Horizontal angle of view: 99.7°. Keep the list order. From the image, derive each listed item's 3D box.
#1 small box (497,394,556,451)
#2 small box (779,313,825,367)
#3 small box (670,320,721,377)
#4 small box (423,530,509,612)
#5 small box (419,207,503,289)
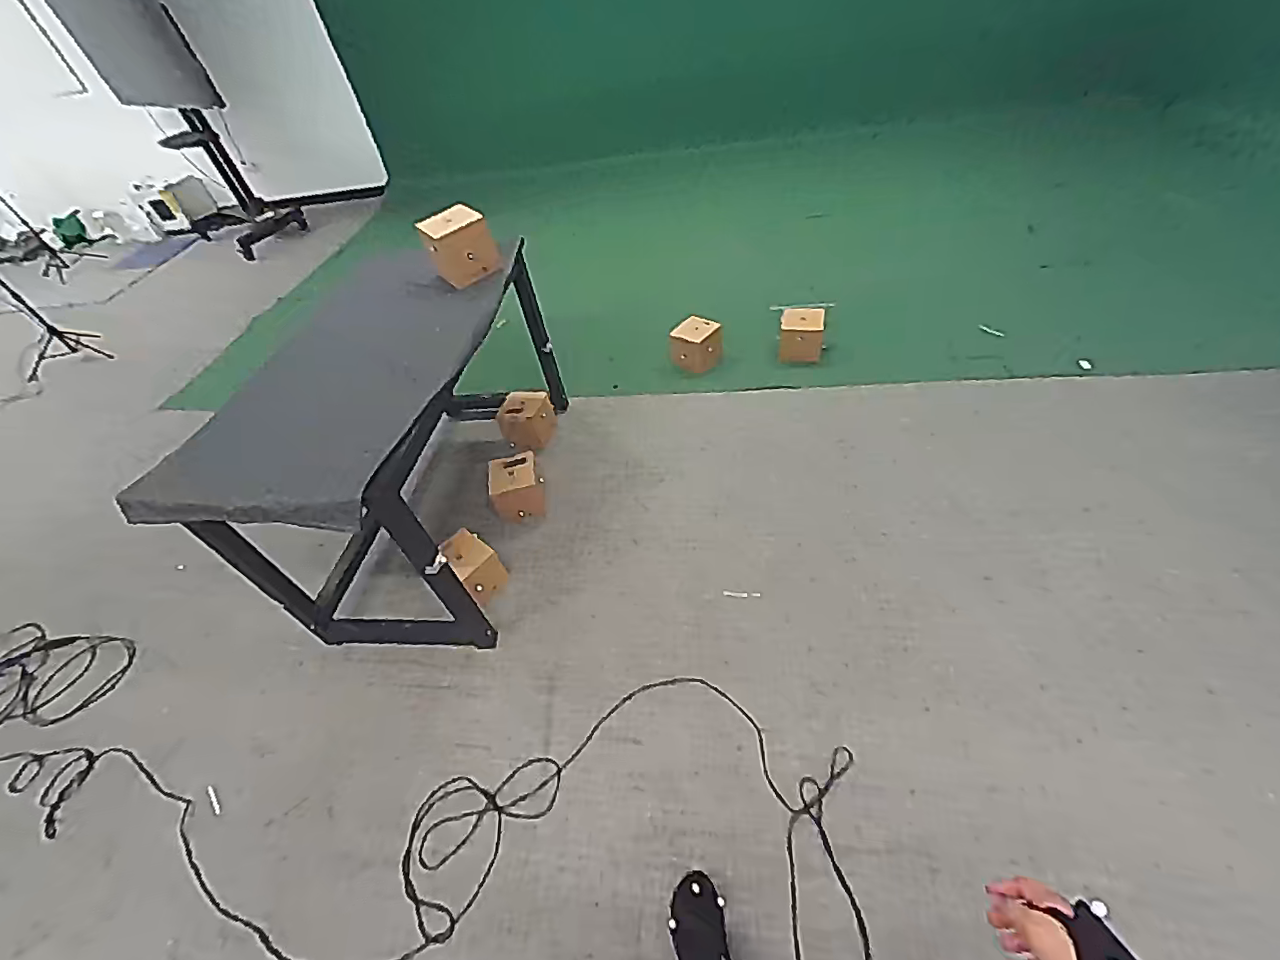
[{"bbox_3d":[-0.463,-0.238,2.243,0.168,0.176,0.179,4,47,13],"label":"small box"},{"bbox_3d":[0.713,-0.617,2.383,0.179,0.176,0.168,7,50,15],"label":"small box"},{"bbox_3d":[0.258,-0.593,2.447,0.168,0.176,0.179,28,58,32],"label":"small box"},{"bbox_3d":[-0.556,0.301,1.750,0.179,0.176,0.168,27,57,31],"label":"small box"},{"bbox_3d":[-0.561,-0.730,1.709,0.168,0.176,0.179,-35,50,-18],"label":"small box"}]
